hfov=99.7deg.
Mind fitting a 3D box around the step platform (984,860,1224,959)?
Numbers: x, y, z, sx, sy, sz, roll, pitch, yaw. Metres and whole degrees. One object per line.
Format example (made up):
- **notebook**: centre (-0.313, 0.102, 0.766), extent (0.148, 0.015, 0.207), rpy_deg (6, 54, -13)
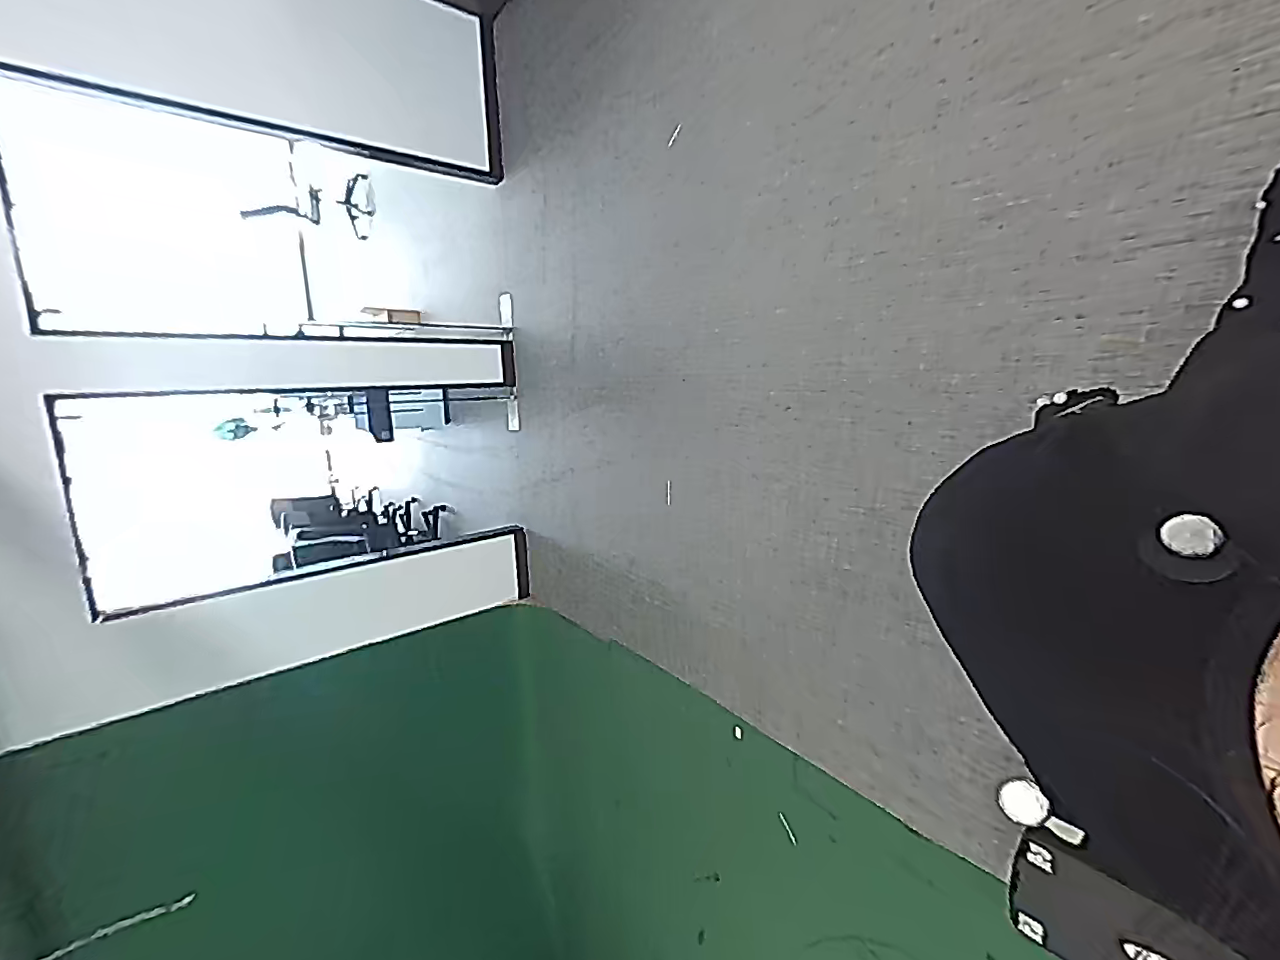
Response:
- **step platform**: centre (1.023, 1.026, 0.949), extent (0.684, 0.204, 0.286), rpy_deg (11, 106, 49)
